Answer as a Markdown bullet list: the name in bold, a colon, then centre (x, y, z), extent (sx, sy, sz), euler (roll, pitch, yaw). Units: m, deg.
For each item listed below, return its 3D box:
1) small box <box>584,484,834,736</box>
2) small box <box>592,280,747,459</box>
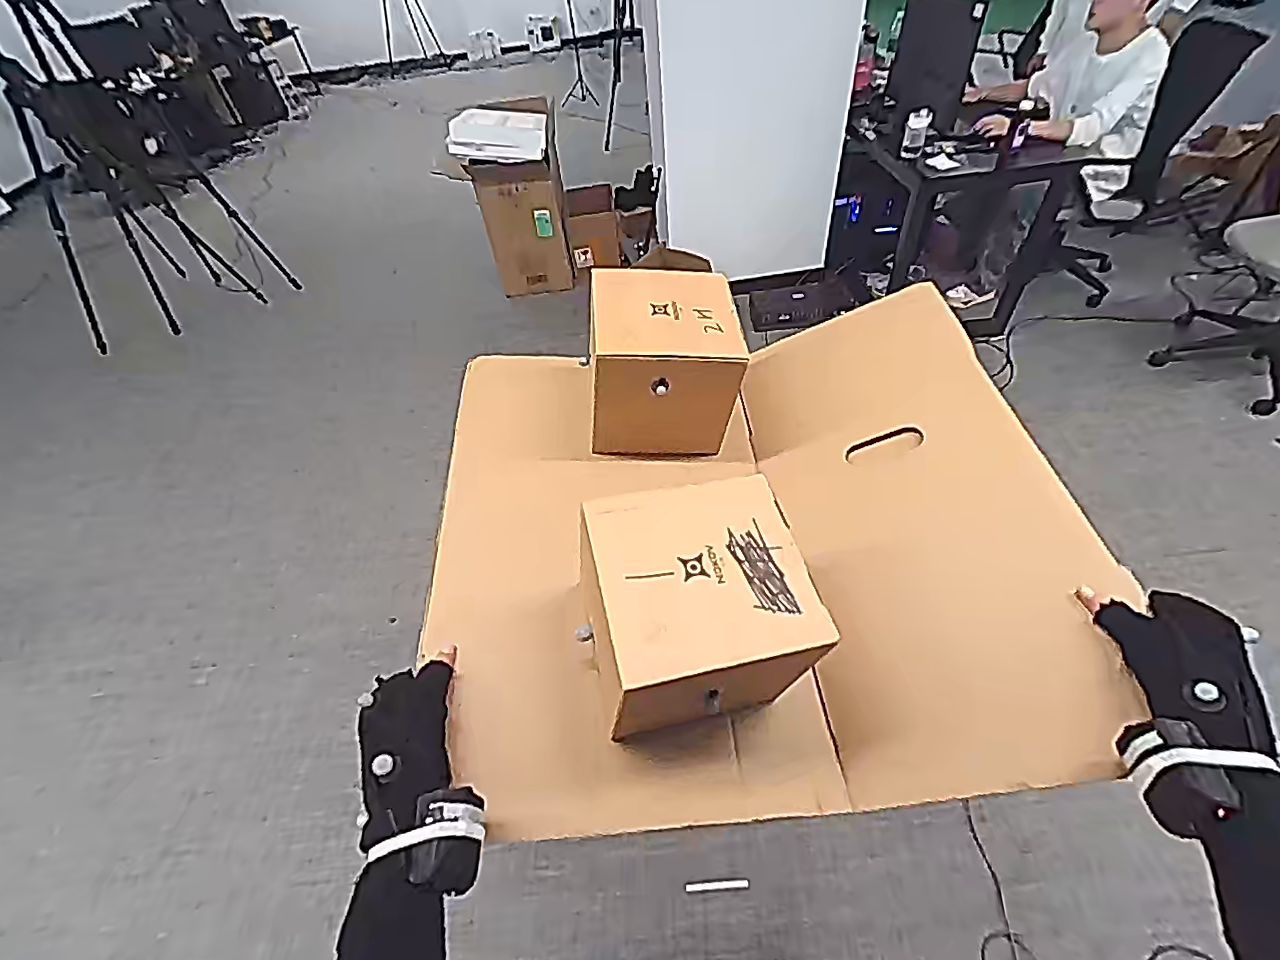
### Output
- **small box**: centre (0.046, 0.126, 0.516), extent (0.179, 0.176, 0.168), euler (-8, 55, -12)
- **small box**: centre (0.025, -0.141, 0.713), extent (0.179, 0.176, 0.168), euler (1, 53, -7)
